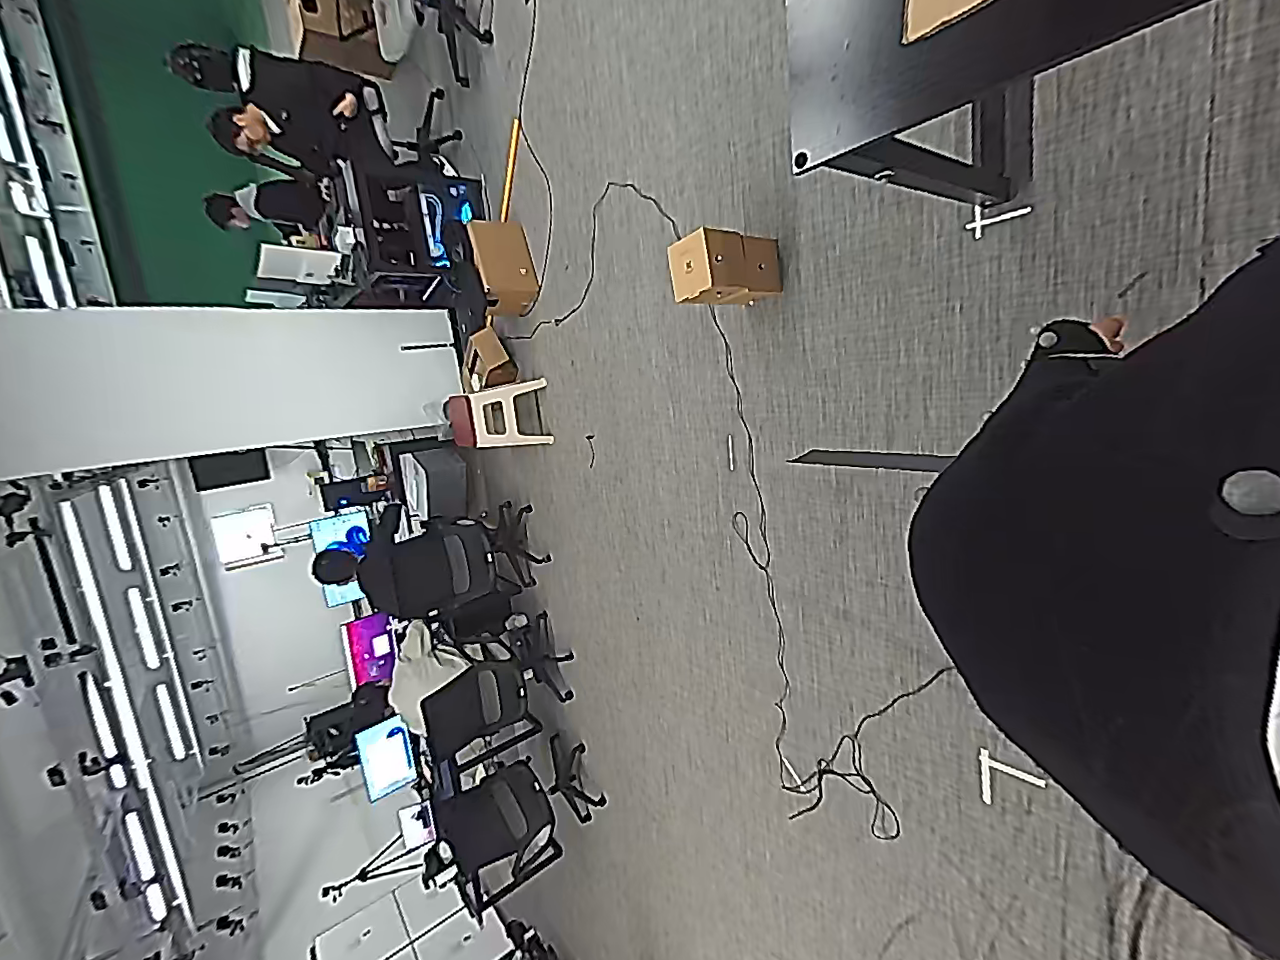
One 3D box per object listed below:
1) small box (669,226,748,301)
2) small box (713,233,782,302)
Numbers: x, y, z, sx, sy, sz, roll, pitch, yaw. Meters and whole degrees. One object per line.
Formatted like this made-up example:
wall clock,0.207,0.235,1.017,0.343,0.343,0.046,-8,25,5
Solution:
small box,0.218,-0.667,1.684,0.168,0.176,0.179,-3,98,53
small box,0.347,-0.691,1.780,0.168,0.176,0.179,1,102,53
